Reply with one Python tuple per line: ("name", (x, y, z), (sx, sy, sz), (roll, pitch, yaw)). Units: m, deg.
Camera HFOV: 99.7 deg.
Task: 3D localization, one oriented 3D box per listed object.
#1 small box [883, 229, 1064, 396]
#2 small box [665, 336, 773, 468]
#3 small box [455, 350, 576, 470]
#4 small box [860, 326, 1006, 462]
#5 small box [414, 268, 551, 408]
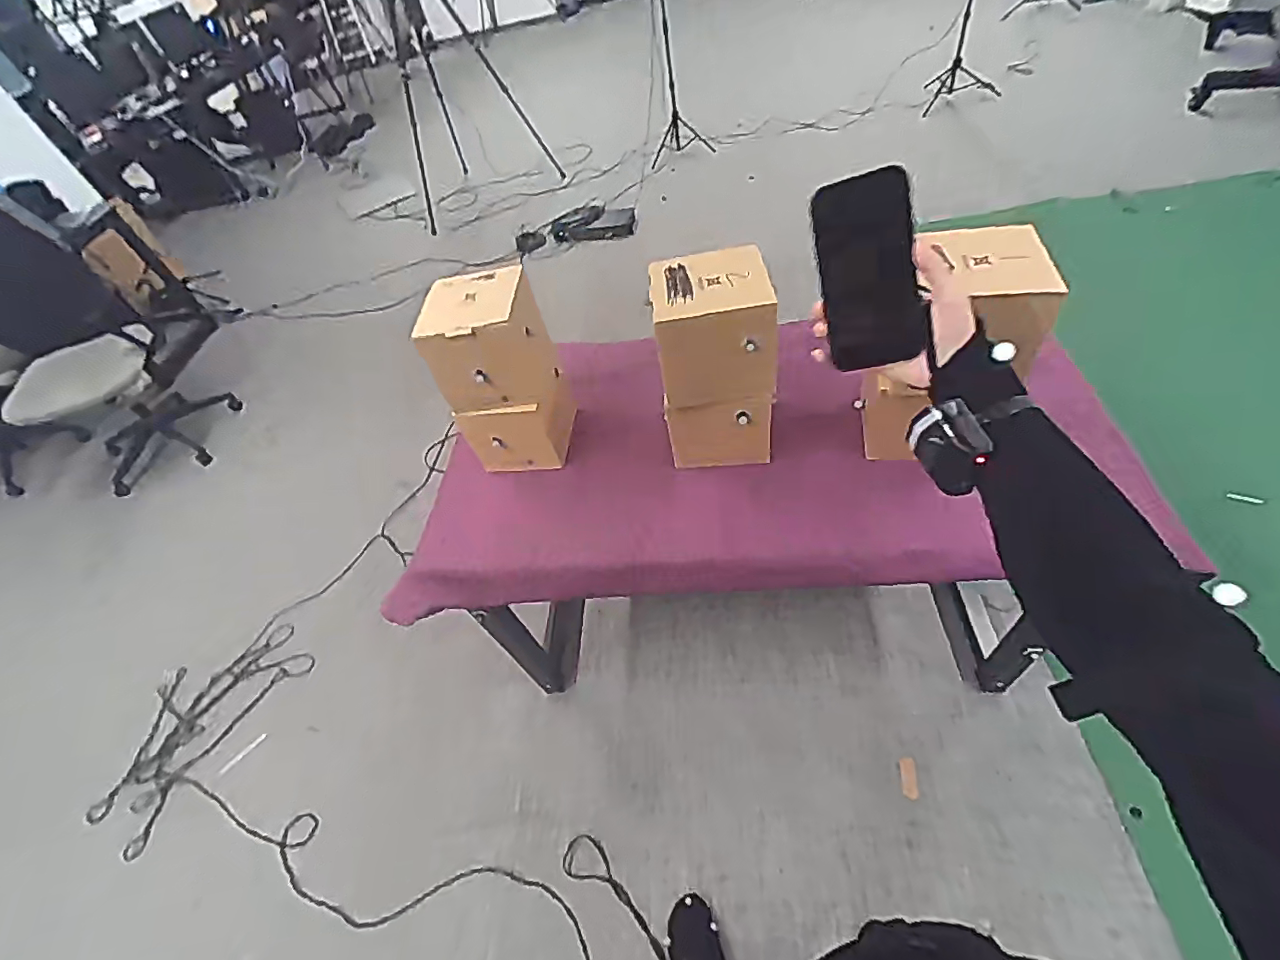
("small box", (0.457, -0.235, 0.780), (0.179, 0.176, 0.168), (2, 51, 14))
("small box", (0.147, -0.137, 0.987), (0.179, 0.176, 0.168), (-3, 50, 11))
("small box", (-0.234, -0.132, 1.074), (0.168, 0.176, 0.179), (-3, 50, 11))
("small box", (0.480, -0.143, 0.915), (0.179, 0.176, 0.168), (2, 51, 15))
("small box", (-0.263, -0.242, 0.955), (0.168, 0.176, 0.179), (-6, 50, 7))
